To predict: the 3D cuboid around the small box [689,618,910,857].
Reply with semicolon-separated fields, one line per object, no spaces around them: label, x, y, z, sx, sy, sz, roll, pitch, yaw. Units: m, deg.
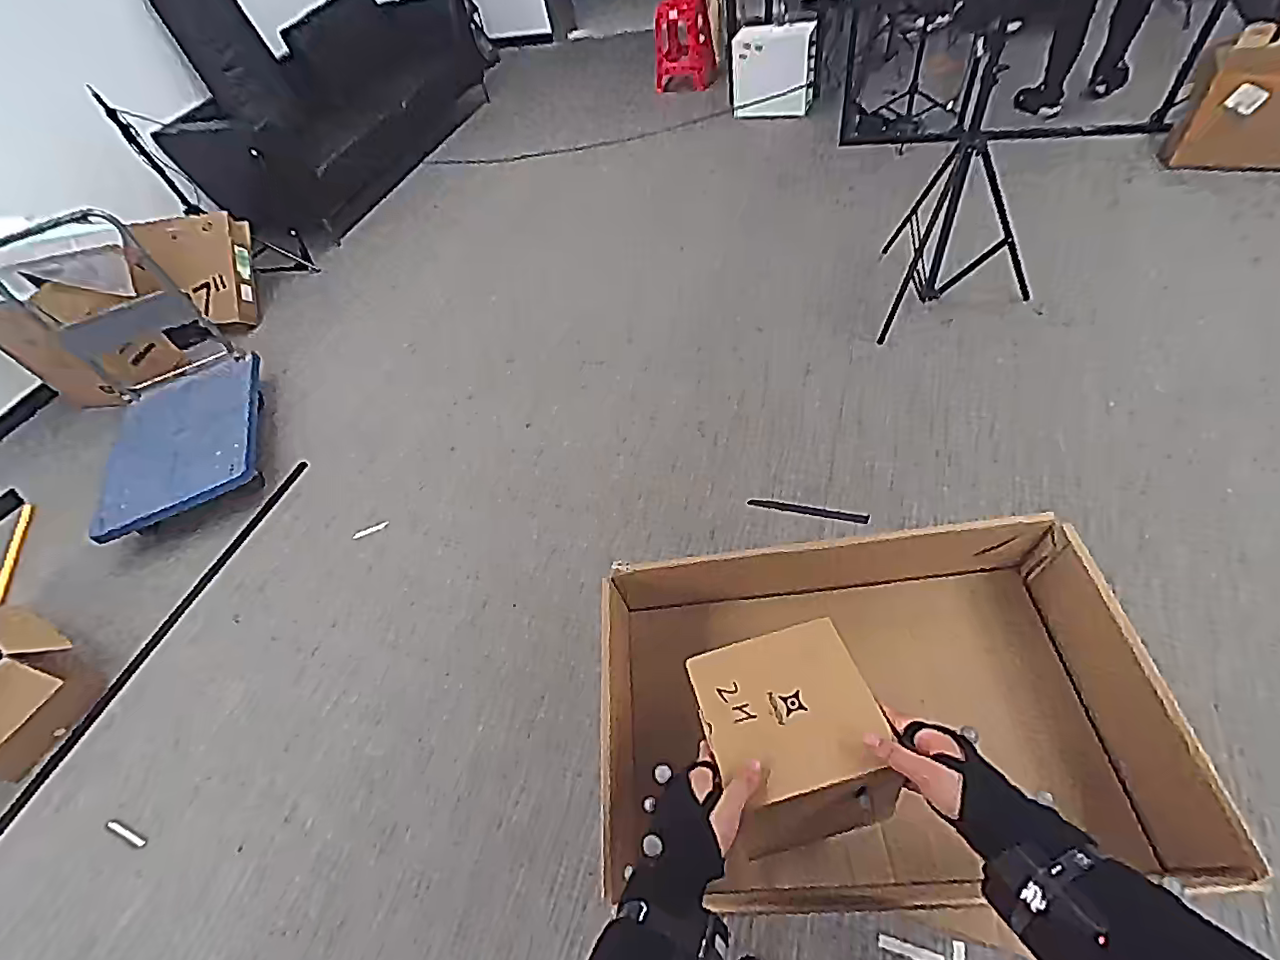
small box;0.168;0.289;0.607;0.179;0.176;0.168;-17;40;0
